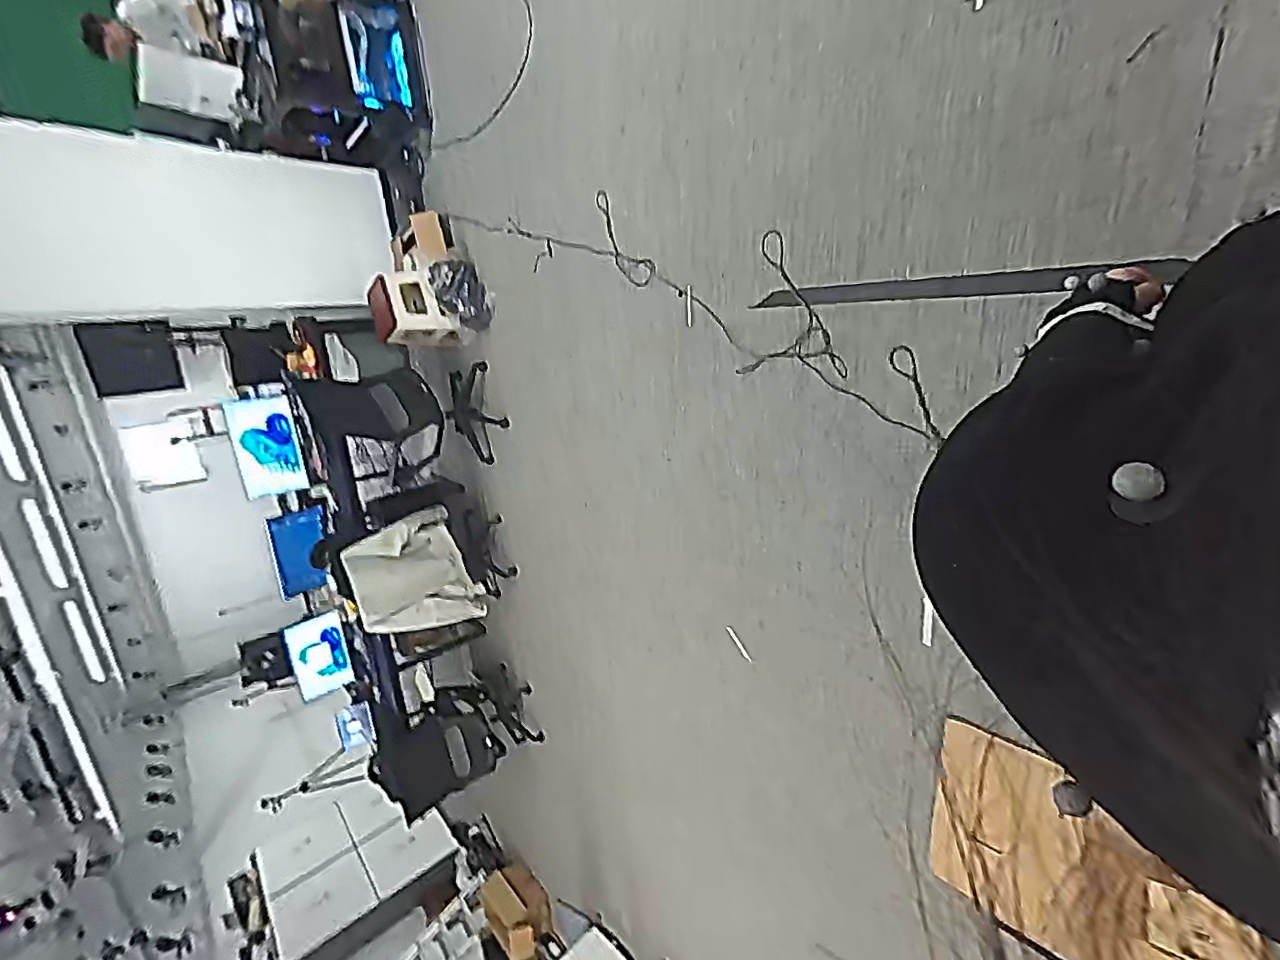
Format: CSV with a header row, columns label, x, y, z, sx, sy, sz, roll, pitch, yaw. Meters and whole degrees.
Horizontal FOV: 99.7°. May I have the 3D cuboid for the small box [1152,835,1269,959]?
label,x,y,z,sx,sy,sz,roll,pitch,yaw
small box,1.215,0.915,1.156,0.168,0.176,0.179,1,104,48
